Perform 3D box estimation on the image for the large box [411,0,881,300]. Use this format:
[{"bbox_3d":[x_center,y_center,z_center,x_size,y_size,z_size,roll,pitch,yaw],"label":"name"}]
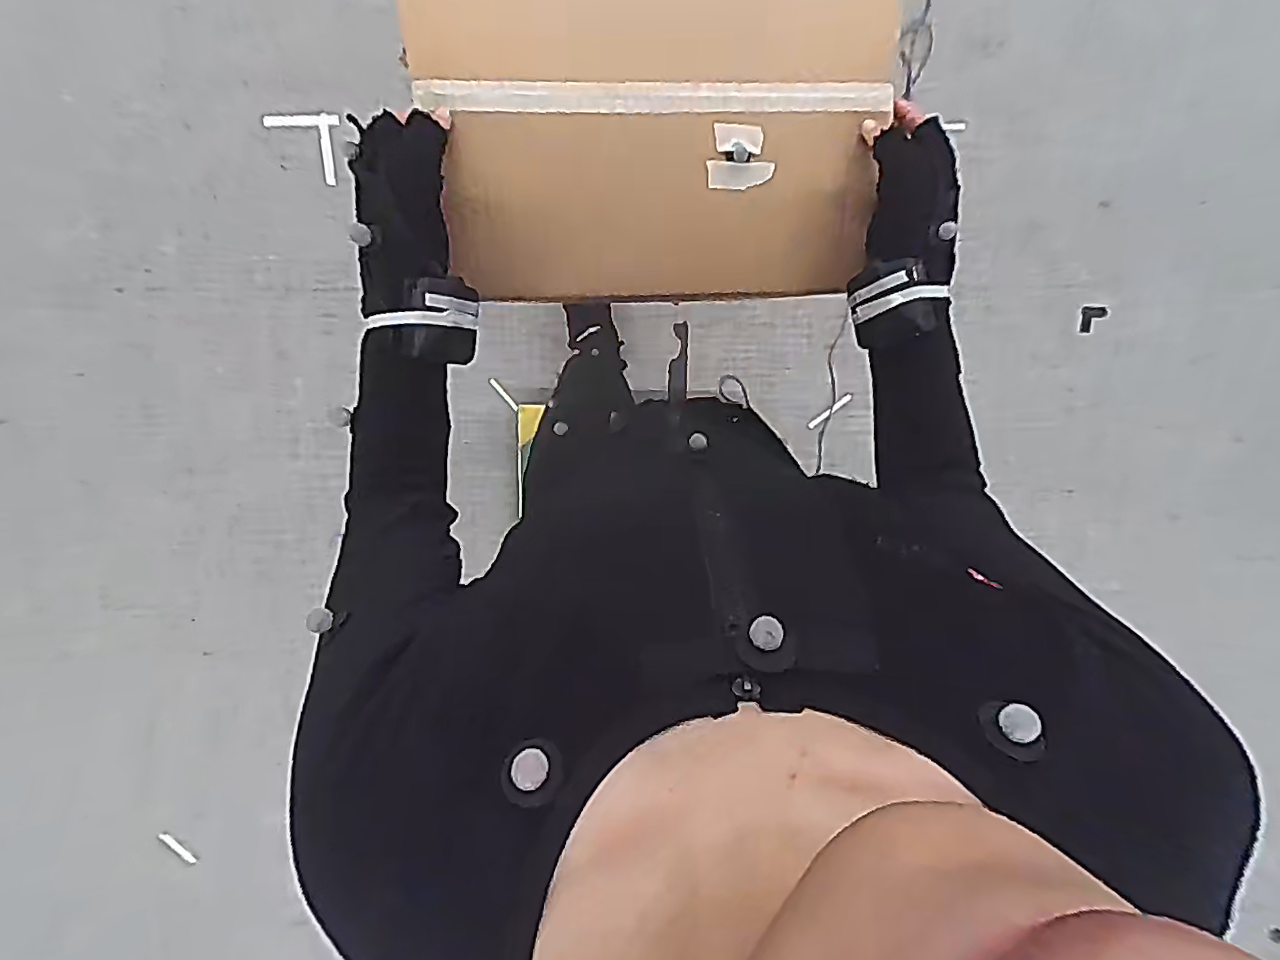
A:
[{"bbox_3d":[-0.002,-0.381,0.614,0.408,0.320,0.320,-4,108,-5],"label":"large box"}]
